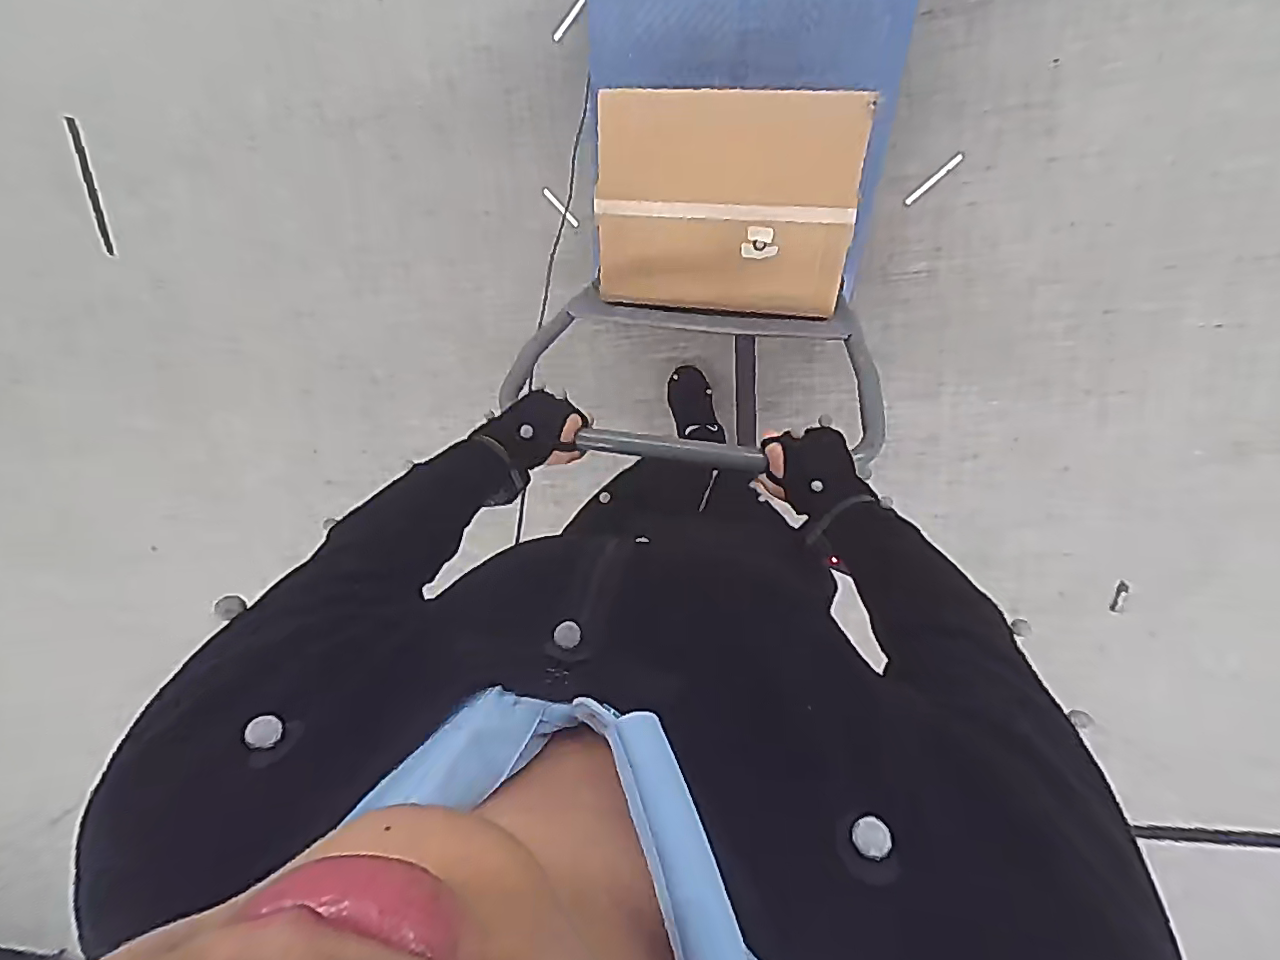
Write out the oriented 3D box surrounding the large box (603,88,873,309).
[{"bbox_3d":[0.161,-0.516,0.999,0.408,0.320,0.320,6,122,8],"label":"large box"}]
